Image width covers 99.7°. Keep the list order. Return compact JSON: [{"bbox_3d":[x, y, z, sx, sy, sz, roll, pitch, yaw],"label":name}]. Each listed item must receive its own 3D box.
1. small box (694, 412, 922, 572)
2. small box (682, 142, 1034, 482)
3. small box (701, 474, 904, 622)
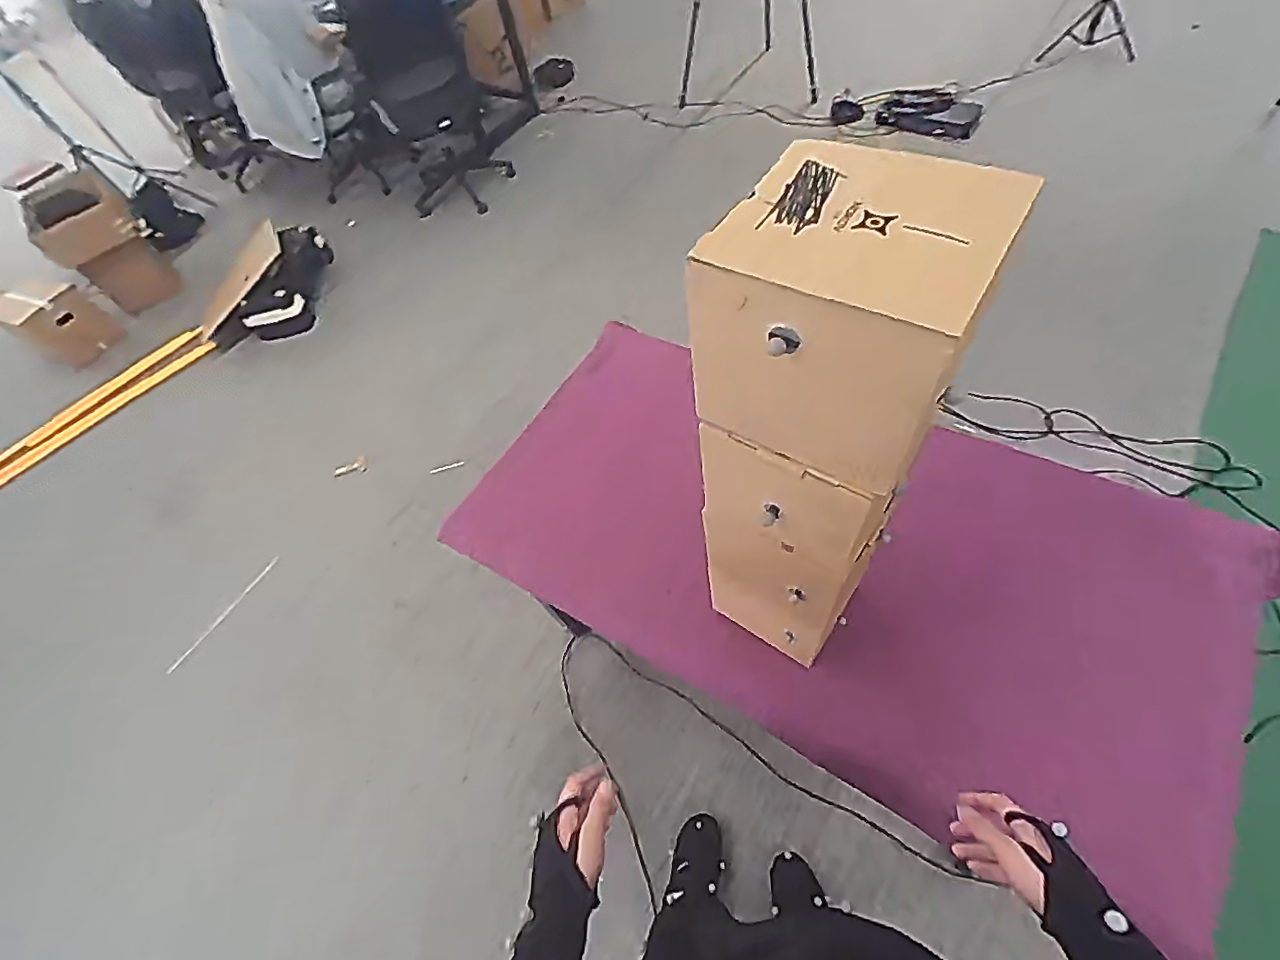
[{"bbox_3d":[0.176,-0.035,0.557,0.168,0.176,0.179,29,67,25],"label":"small box"},{"bbox_3d":[0.152,-0.126,0.421,0.179,0.176,0.168,27,65,24],"label":"small box"},{"bbox_3d":[0.199,0.058,0.688,0.179,0.176,0.168,29,66,26],"label":"small box"}]
